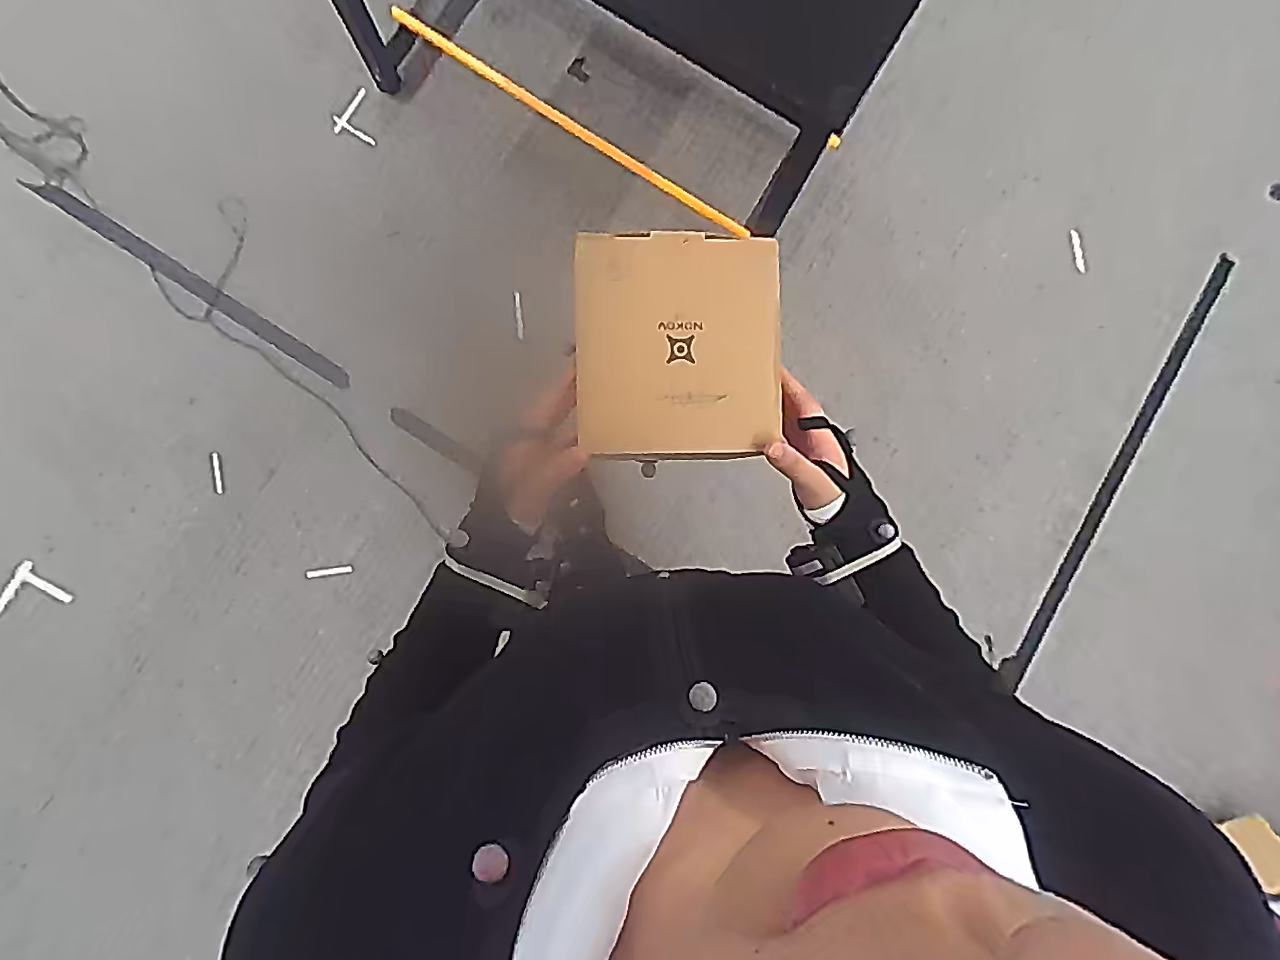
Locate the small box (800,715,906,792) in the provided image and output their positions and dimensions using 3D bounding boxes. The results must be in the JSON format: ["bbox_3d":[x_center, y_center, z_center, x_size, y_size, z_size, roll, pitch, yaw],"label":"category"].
[{"bbox_3d":[0.543,0.737,1.397,0.179,0.176,0.168,31,85,1],"label":"small box"}]

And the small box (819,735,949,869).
[{"bbox_3d":[0.546,0.719,1.232,0.179,0.176,0.168,33,85,0],"label":"small box"}]

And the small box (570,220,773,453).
[{"bbox_3d":[0.018,-0.117,0.509,0.168,0.176,0.179,-1,91,-5],"label":"small box"}]
